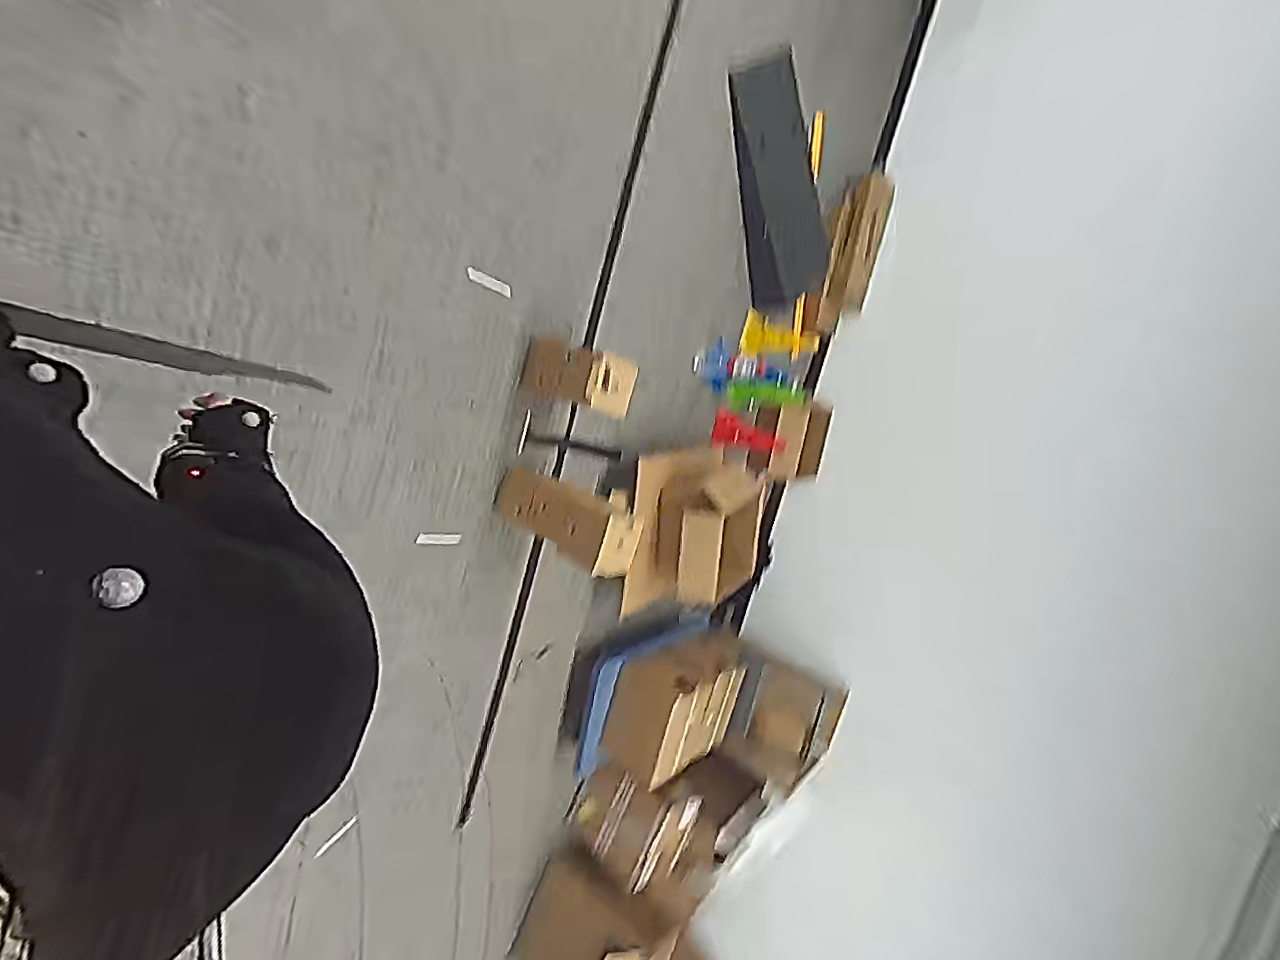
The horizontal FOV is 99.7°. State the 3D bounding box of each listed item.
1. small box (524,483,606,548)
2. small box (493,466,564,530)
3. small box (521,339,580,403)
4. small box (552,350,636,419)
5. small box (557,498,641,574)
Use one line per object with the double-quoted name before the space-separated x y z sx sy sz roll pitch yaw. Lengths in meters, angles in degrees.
"small box" -0.245 0.116 1.760 0.179 0.176 0.168 9 100 -52
"small box" -0.374 0.068 1.846 0.168 0.176 0.179 16 94 -54
"small box" -0.269 -0.351 1.782 0.168 0.176 0.179 5 101 -53
"small box" -0.147 -0.299 1.685 0.179 0.176 0.168 9 99 -55
"small box" -0.131 0.173 1.656 0.168 0.176 0.179 13 98 -52
